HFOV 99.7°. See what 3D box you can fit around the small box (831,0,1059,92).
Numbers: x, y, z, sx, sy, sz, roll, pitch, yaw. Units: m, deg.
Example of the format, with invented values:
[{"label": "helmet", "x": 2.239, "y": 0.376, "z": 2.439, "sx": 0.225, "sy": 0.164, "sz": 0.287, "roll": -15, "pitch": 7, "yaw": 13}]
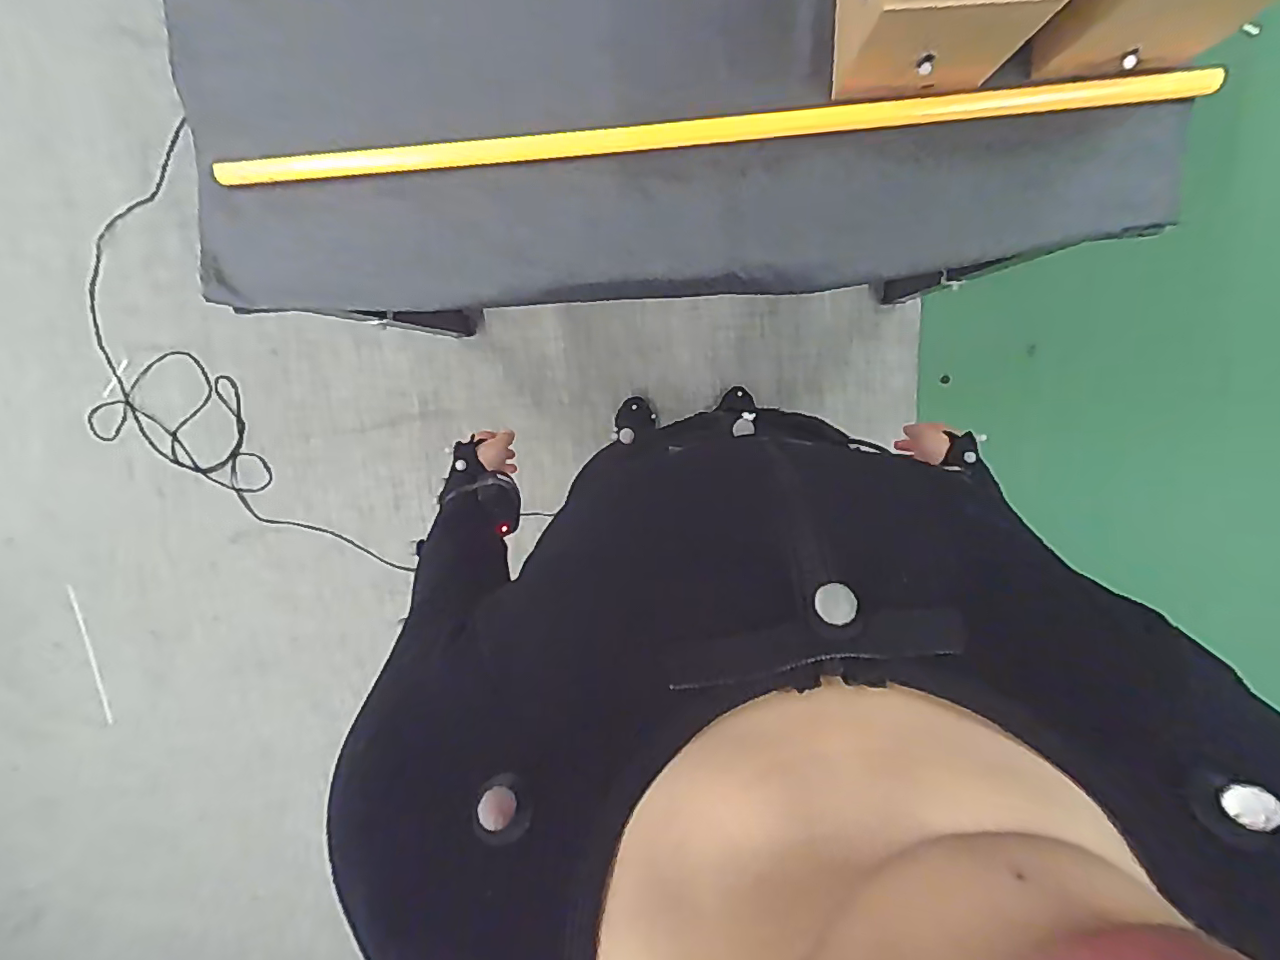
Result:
[{"label": "small box", "x": 0.301, "y": -0.526, "z": 0.550, "sx": 0.168, "sy": 0.176, "sz": 0.179, "roll": 0, "pitch": 101, "yaw": 3}]
